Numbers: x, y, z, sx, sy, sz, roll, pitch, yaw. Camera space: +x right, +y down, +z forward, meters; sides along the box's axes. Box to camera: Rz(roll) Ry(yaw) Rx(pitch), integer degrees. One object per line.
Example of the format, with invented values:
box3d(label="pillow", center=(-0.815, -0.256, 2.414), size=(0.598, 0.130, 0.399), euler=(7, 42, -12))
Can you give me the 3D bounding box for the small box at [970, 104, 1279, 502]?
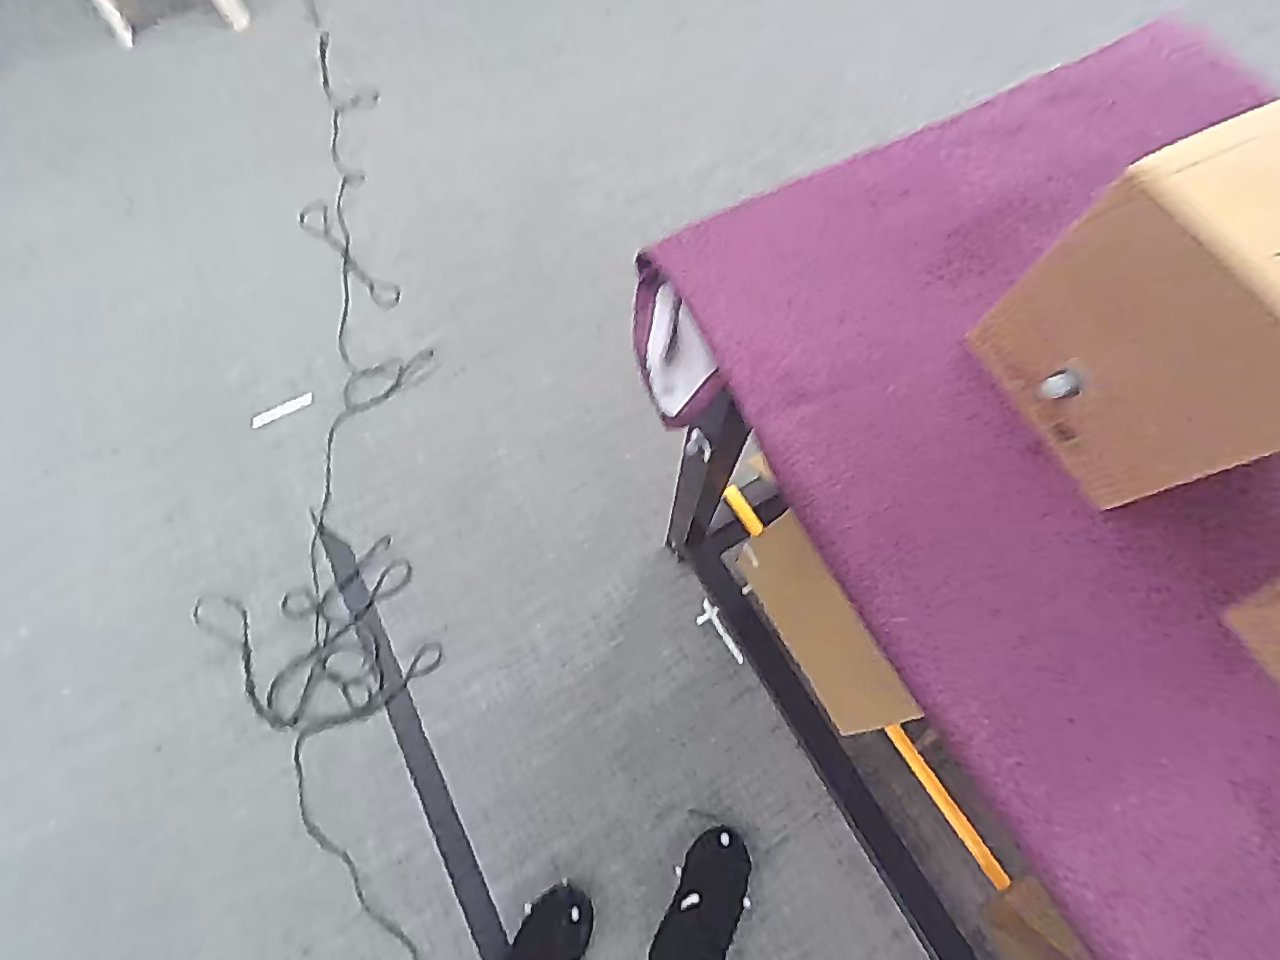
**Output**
box3d(label="small box", center=(0.375, -0.108, 0.358), size=(0.179, 0.176, 0.168), euler=(-24, 71, -7))
